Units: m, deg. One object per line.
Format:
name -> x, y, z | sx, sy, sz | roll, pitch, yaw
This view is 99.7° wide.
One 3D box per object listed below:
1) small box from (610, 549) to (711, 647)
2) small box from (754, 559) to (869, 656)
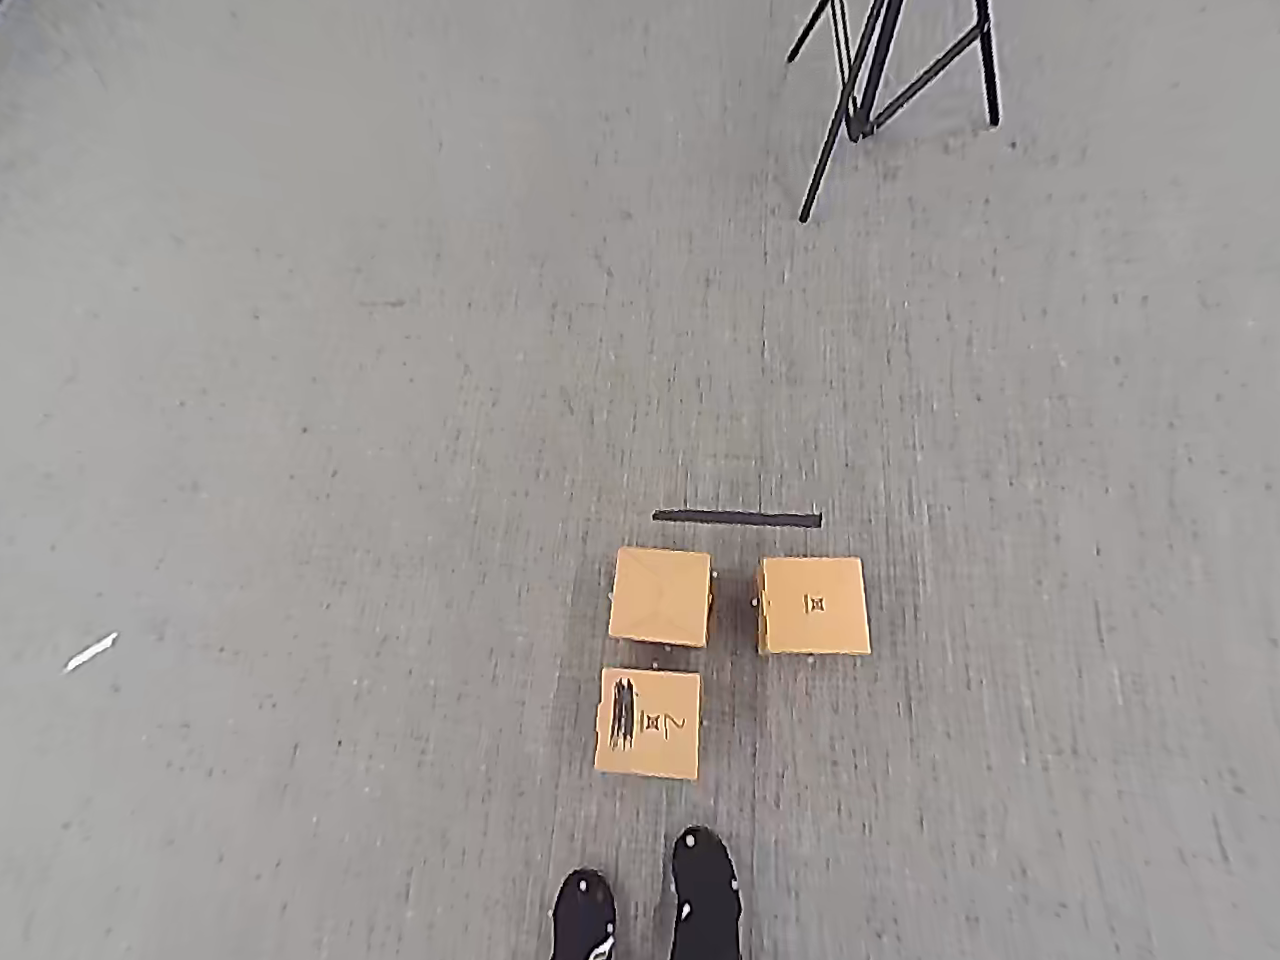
small box -> 0.048, 0.235, 1.062 | 0.179, 0.176, 0.168 | 4, 71, 8
small box -> 0.316, 0.245, 1.029 | 0.179, 0.176, 0.168 | -2, 71, 8
